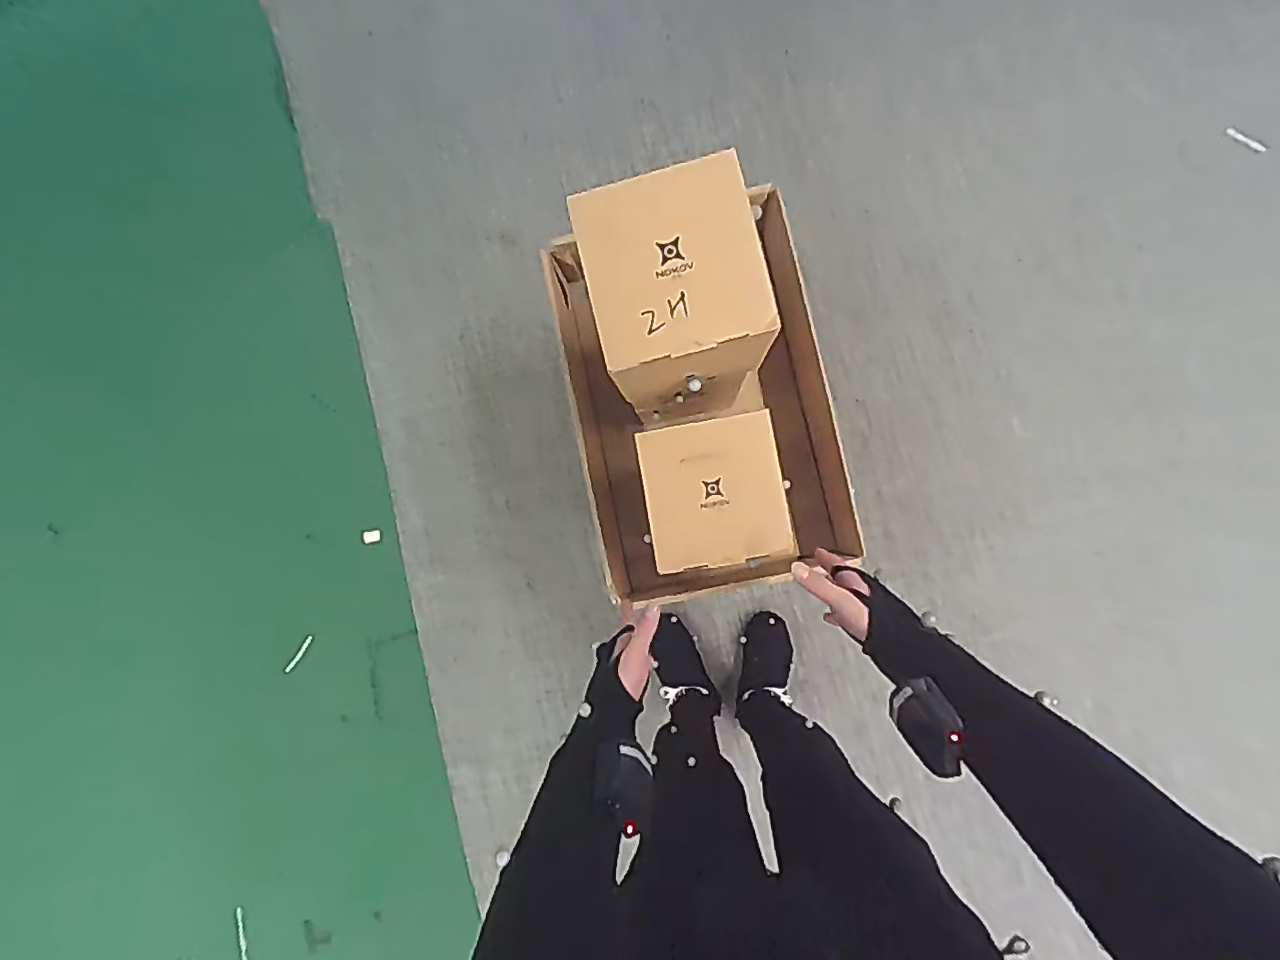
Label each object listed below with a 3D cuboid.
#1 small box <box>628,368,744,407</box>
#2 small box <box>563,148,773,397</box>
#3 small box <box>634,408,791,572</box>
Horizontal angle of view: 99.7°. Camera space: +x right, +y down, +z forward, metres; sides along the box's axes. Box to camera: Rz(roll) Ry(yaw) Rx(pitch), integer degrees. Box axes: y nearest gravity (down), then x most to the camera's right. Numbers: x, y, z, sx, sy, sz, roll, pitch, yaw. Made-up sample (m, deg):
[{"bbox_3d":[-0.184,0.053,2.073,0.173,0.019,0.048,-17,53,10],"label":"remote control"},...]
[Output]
[{"bbox_3d":[0.044,-0.213,0.744,0.168,0.176,0.179,-12,88,5],"label":"small box"},{"bbox_3d":[0.030,-0.203,0.579,0.168,0.176,0.179,-14,88,6],"label":"small box"},{"bbox_3d":[0.093,0.017,0.720,0.168,0.176,0.179,-10,84,5],"label":"small box"}]
